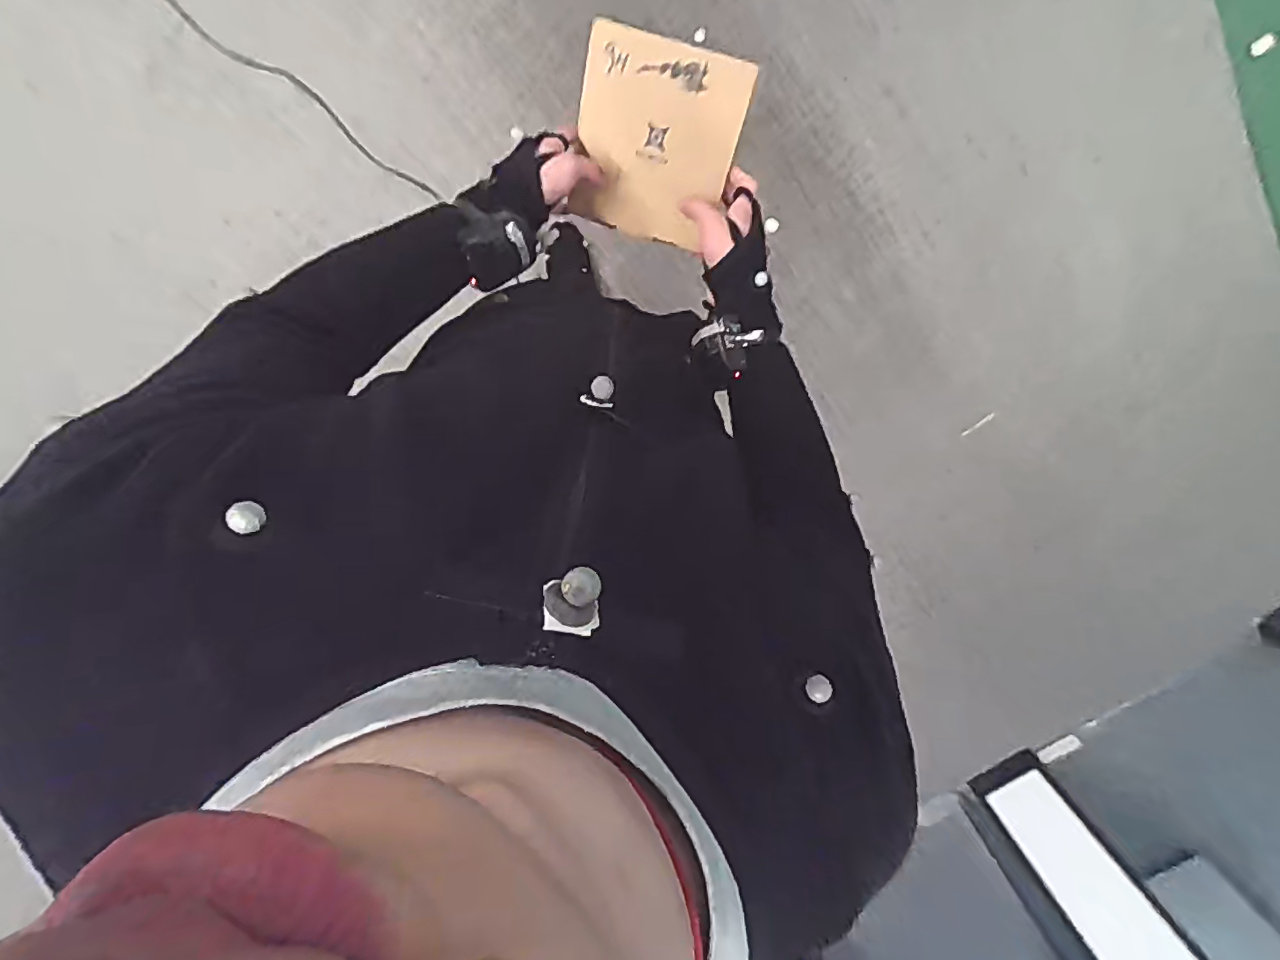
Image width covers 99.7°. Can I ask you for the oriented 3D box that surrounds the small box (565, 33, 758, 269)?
[{"bbox_3d":[0.028,-0.370,0.608,0.168,0.176,0.179,17,130,1],"label":"small box"}]
